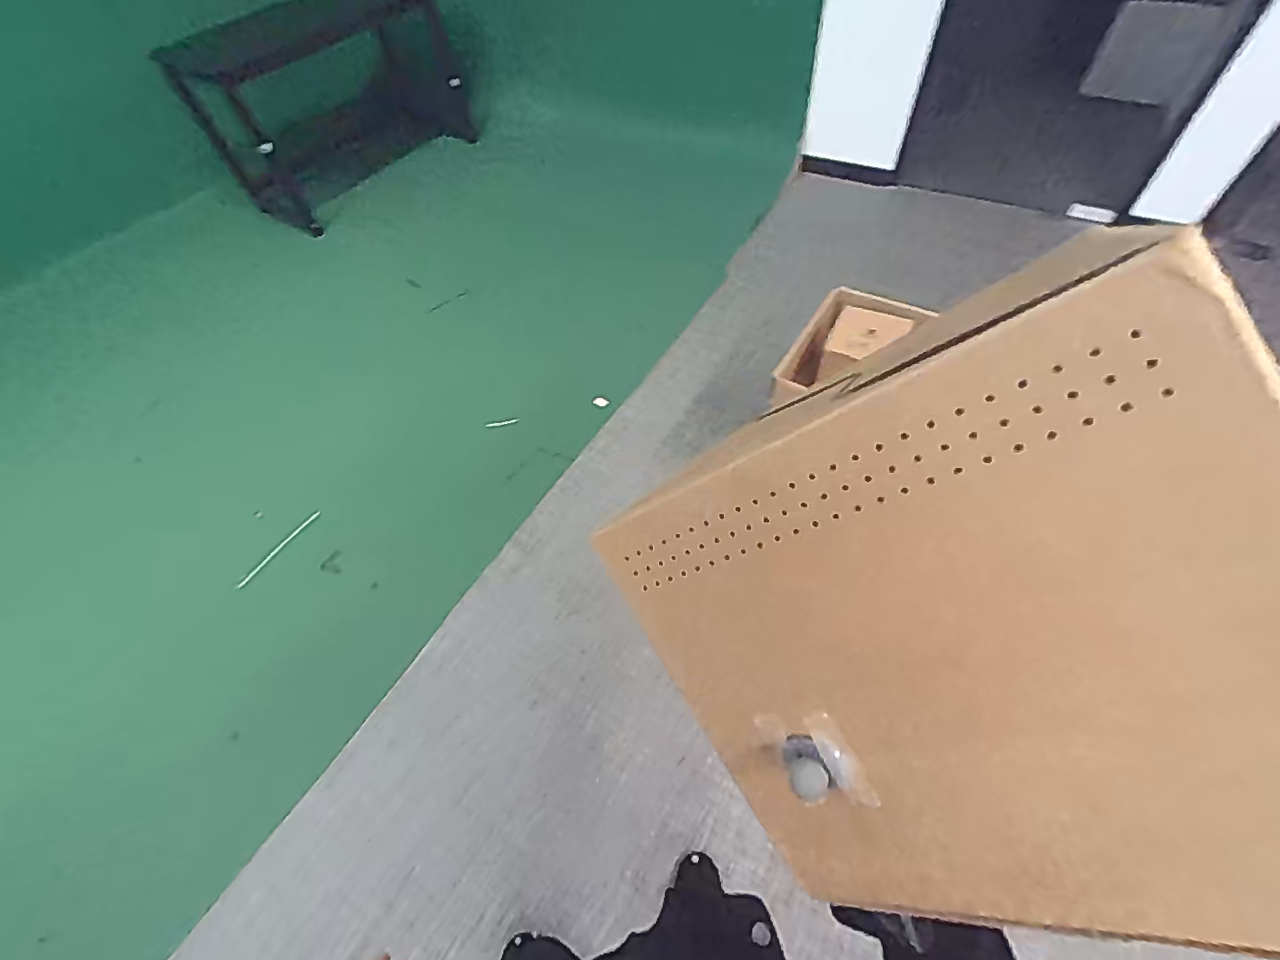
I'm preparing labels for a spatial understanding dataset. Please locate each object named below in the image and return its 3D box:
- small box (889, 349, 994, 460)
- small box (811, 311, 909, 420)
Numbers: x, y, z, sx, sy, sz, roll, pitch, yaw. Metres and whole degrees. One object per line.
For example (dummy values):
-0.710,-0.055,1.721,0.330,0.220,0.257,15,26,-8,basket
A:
0.691,-0.171,1.250,0.168,0.176,0.179,15,58,16,small box
0.539,-0.283,1.343,0.168,0.176,0.179,22,59,20,small box
